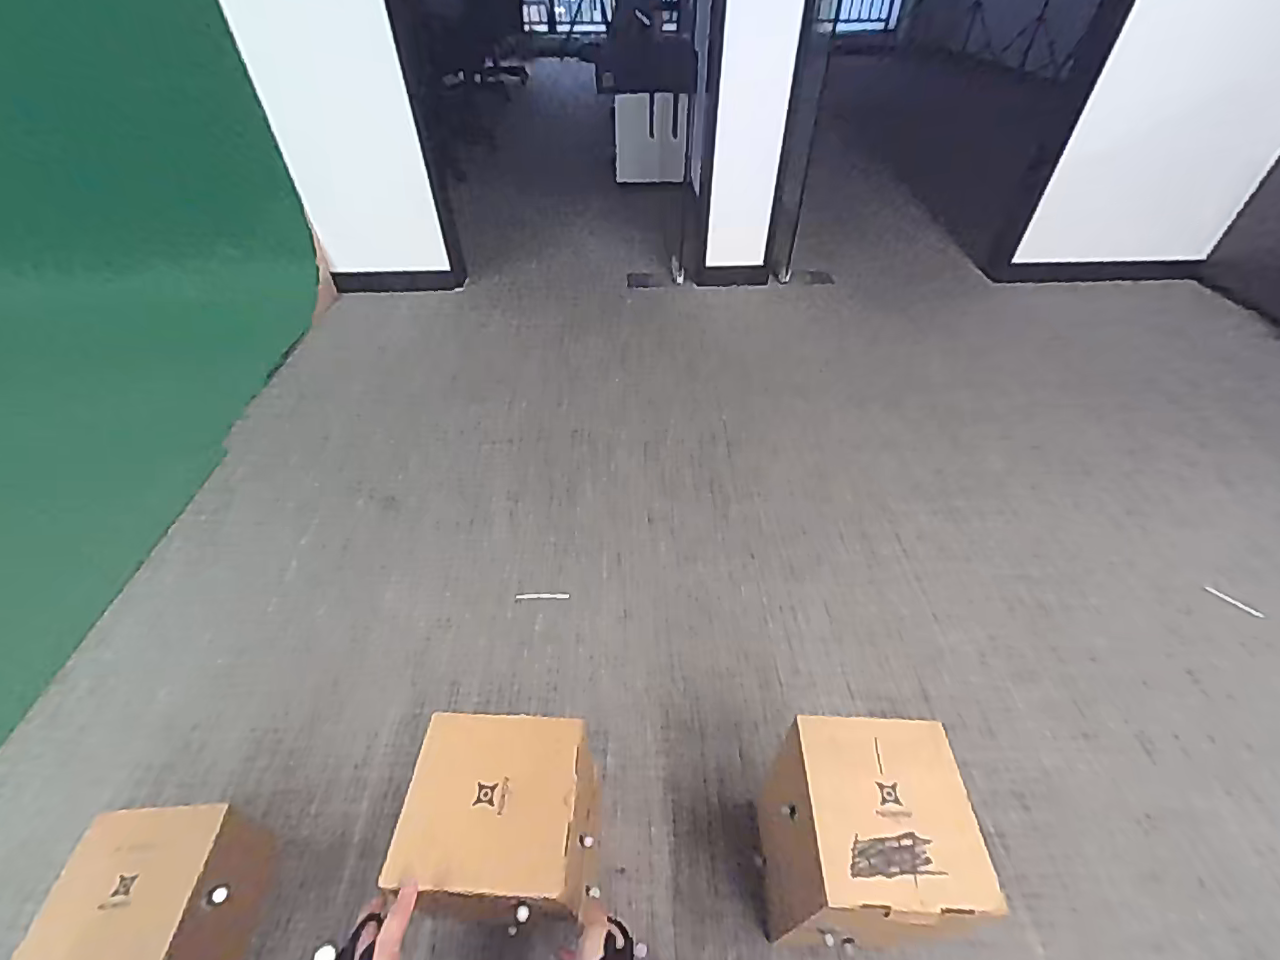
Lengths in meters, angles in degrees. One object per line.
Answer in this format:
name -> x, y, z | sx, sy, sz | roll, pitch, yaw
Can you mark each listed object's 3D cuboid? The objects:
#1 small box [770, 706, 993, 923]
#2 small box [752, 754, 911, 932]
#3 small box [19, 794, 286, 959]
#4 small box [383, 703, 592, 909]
small box -> 0.250, 0.380, 0.613 | 0.168, 0.176, 0.179 | 2, 44, 2
small box -> 0.253, 0.493, 0.734 | 0.168, 0.176, 0.179 | 1, 46, 1
small box -> -0.603, 0.532, 0.702 | 0.168, 0.176, 0.179 | -2, 44, -2
small box -> -0.155, 0.376, 0.623 | 0.179, 0.176, 0.168 | 2, 44, 2
